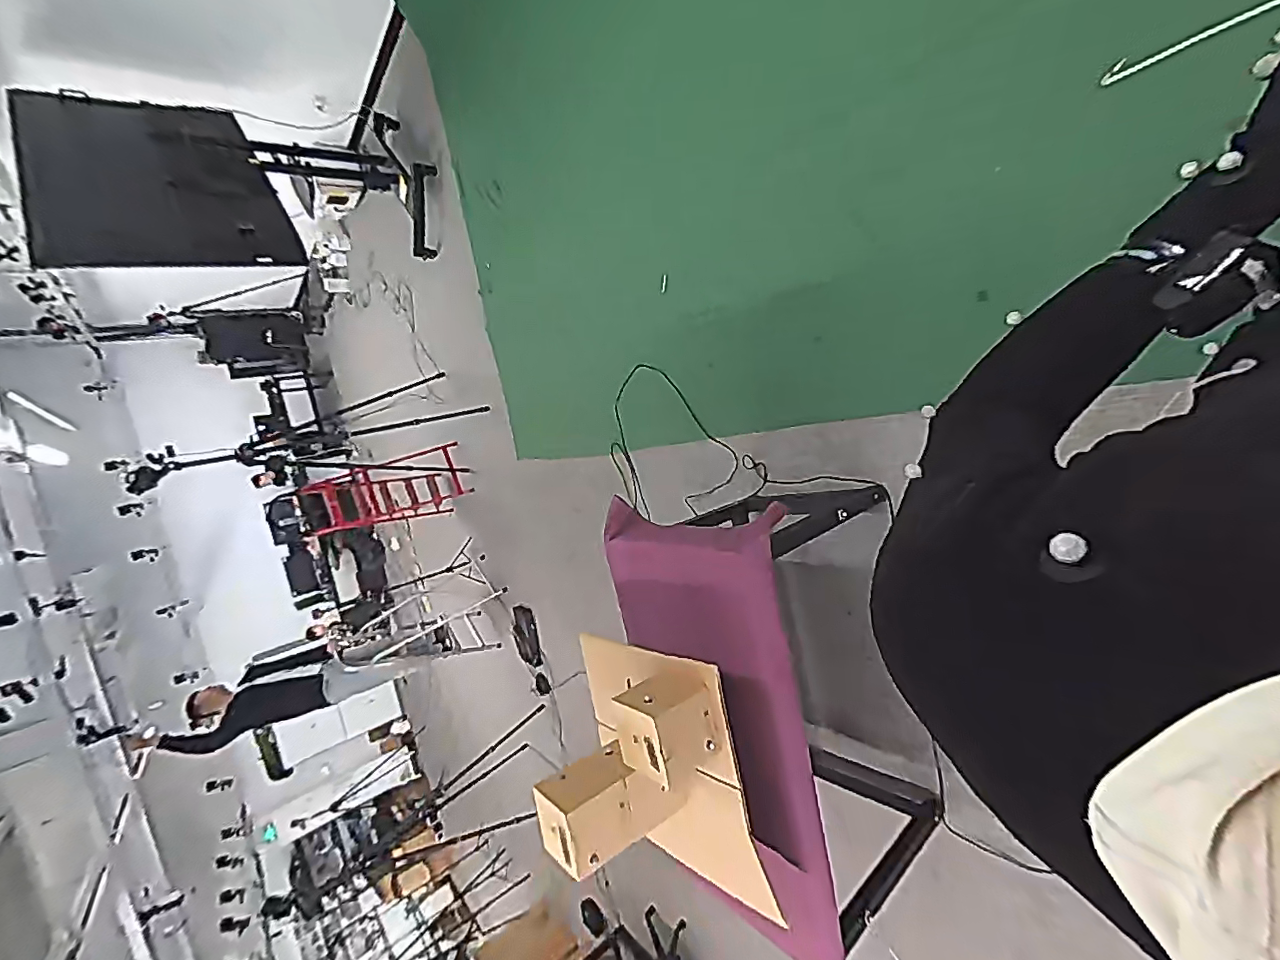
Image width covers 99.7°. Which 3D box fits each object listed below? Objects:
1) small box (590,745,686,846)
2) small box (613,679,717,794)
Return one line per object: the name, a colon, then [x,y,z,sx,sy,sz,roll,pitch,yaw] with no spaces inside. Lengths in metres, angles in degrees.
small box: [-0.005,0.810,1.431,0.179,0.176,0.168,-7,94,51]
small box: [0.065,0.594,1.280,0.179,0.176,0.168,-9,94,53]
